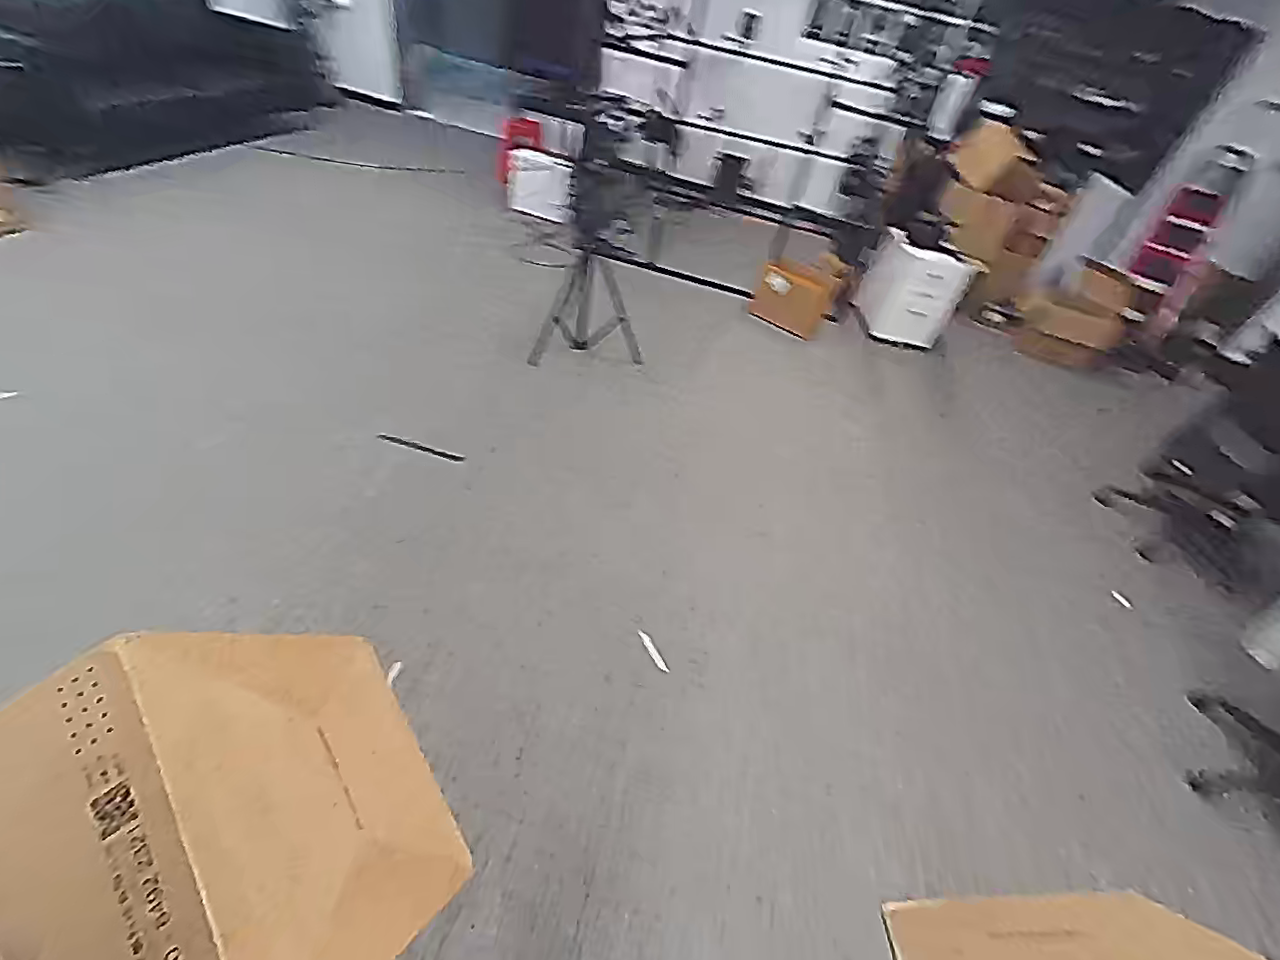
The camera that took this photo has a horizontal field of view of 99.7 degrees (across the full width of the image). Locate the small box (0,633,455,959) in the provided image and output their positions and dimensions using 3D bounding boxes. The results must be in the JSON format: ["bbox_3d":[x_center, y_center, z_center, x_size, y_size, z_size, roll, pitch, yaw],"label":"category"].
[{"bbox_3d":[-0.219,0.186,0.248,0.176,0.179,0.168,-35,74,-8],"label":"small box"}]
